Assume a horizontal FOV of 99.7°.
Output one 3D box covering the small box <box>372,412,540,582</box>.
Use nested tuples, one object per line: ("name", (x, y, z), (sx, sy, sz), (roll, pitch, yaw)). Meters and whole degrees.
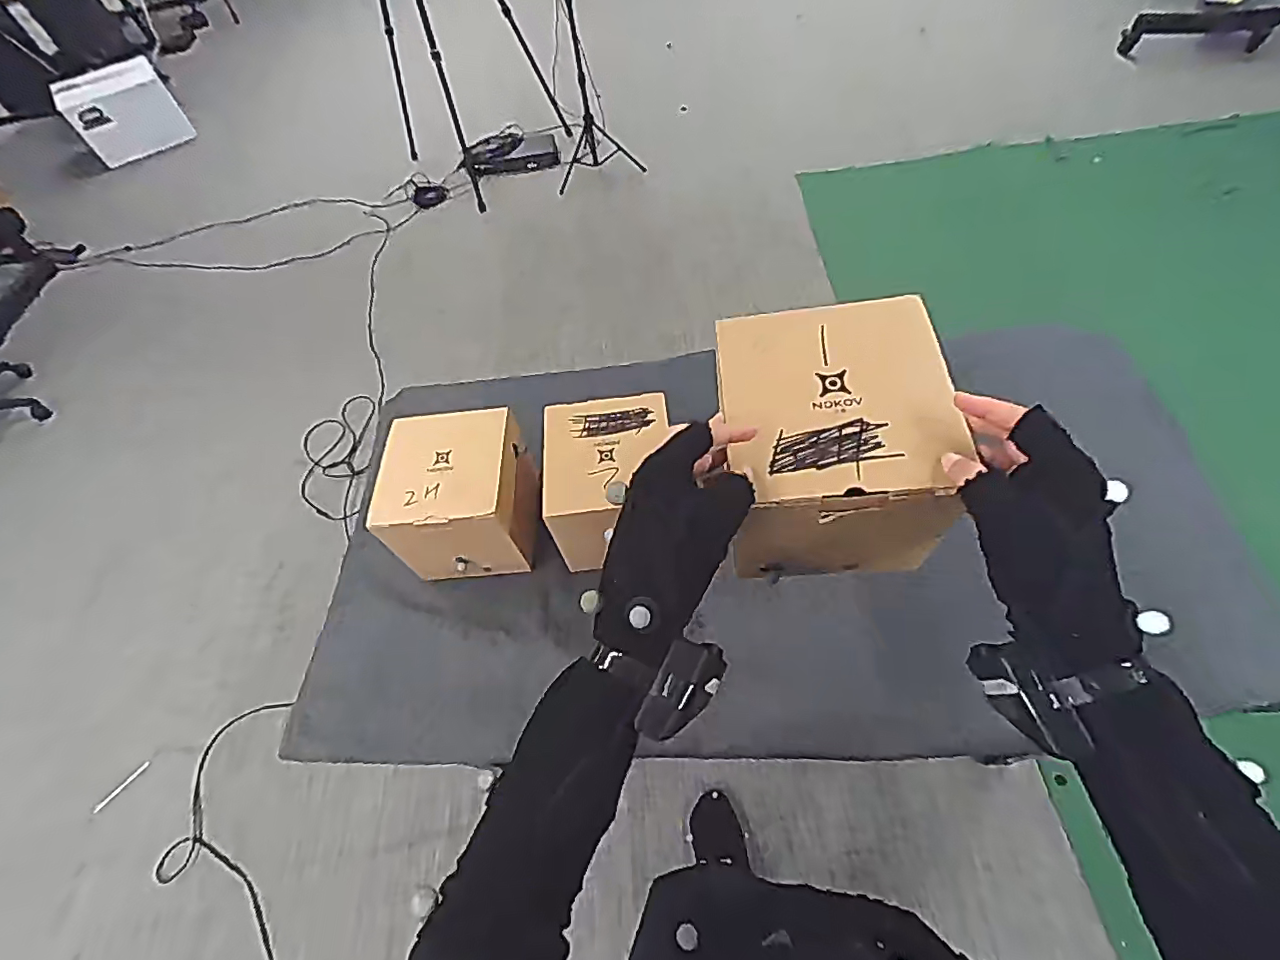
("small box", (-0.245, 0.028, 0.773), (0.168, 0.176, 0.179), (-6, 56, 4))

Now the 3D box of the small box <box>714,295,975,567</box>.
("small box", (0.157, -0.029, 0.476), (0.168, 0.176, 0.179), (-5, 61, 9))
